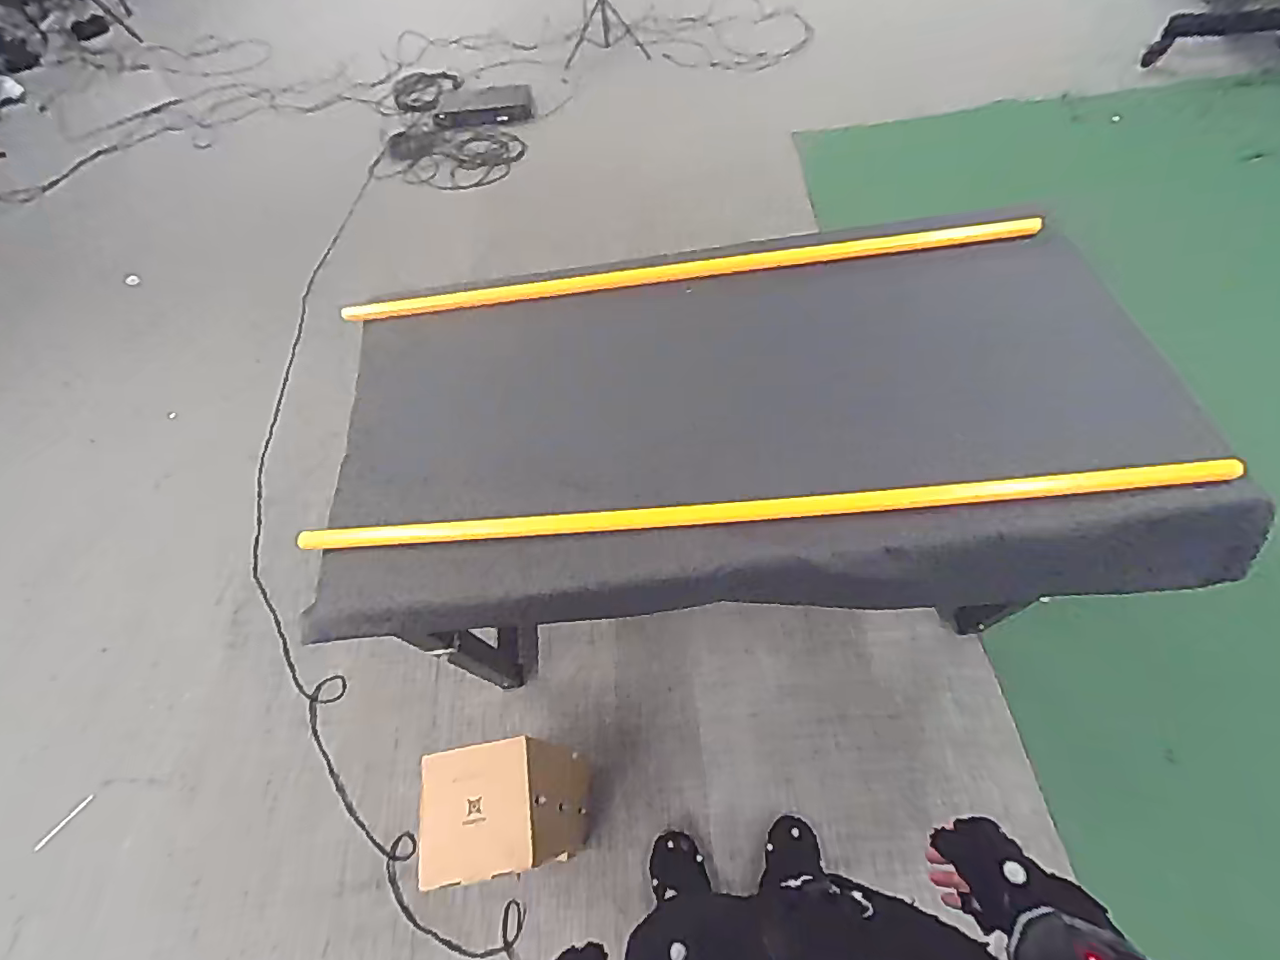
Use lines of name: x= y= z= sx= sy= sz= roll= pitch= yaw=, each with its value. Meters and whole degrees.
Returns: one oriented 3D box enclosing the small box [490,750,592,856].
small box: x=-0.199 y=0.679 z=1.149 sx=0.168 sy=0.176 sz=0.179 roll=0 pitch=62 yaw=6
